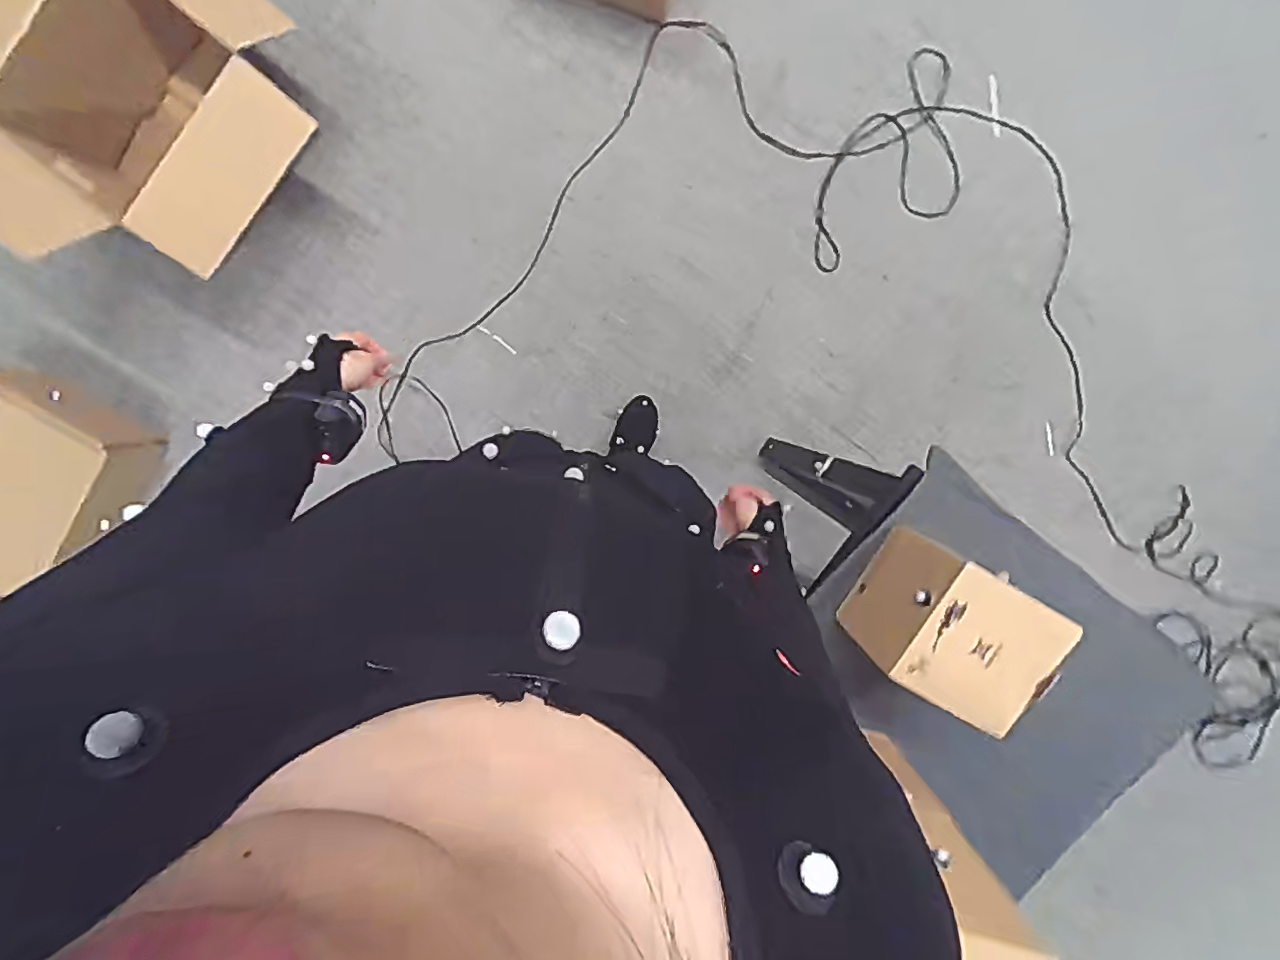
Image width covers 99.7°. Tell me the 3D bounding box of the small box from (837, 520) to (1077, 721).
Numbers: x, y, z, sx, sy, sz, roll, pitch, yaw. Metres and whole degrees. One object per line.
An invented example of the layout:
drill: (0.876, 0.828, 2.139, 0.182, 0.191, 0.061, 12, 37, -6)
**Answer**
small box: (0.402, 0.172, 0.719, 0.179, 0.176, 0.168, 30, 97, -7)
